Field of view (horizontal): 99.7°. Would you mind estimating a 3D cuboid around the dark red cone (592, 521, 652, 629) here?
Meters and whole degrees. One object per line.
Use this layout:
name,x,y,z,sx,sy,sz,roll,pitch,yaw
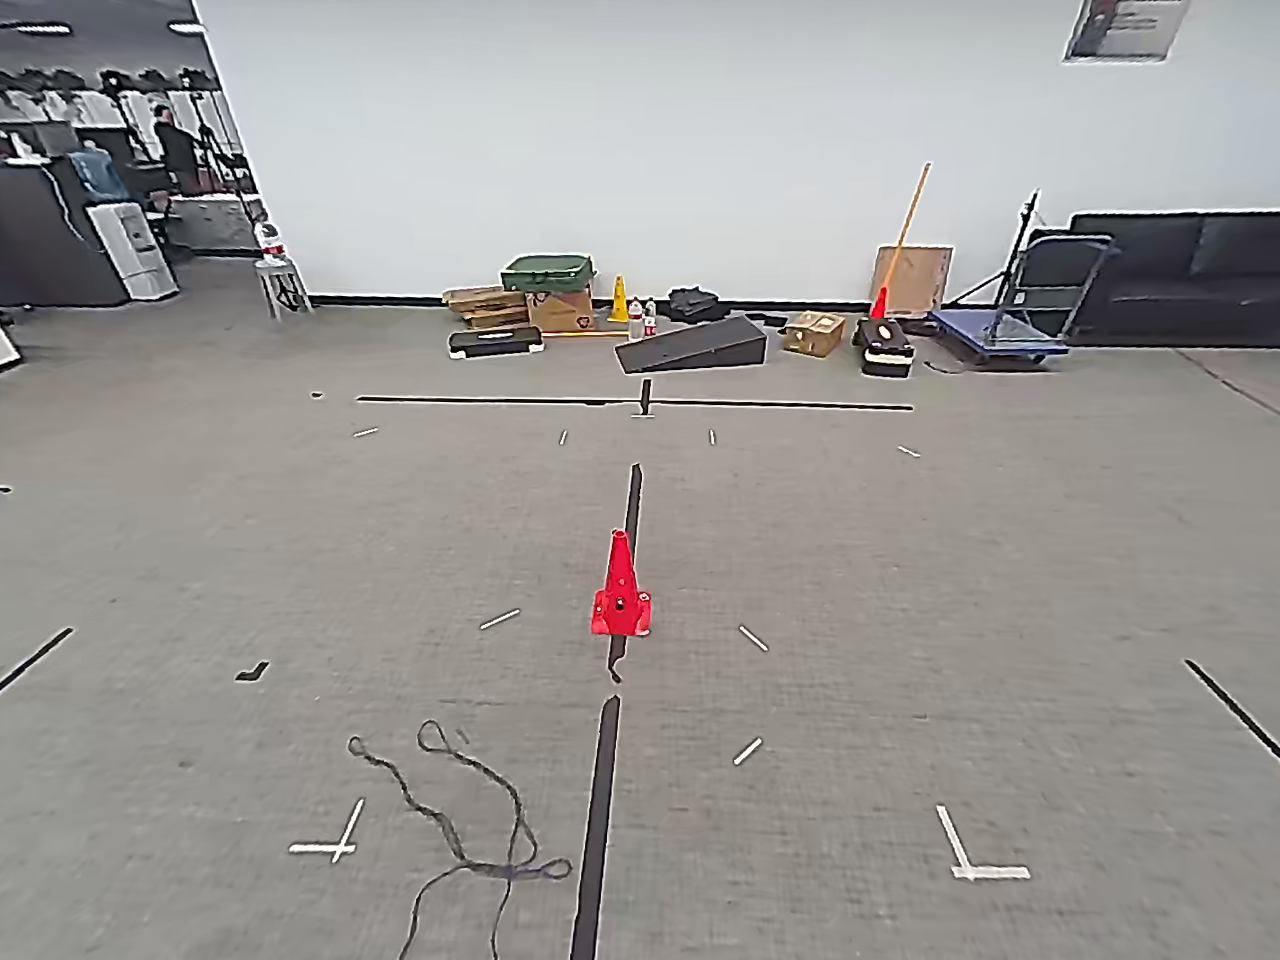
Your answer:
dark red cone,-0.062,0.297,1.770,0.201,0.394,0.202,1,34,2
